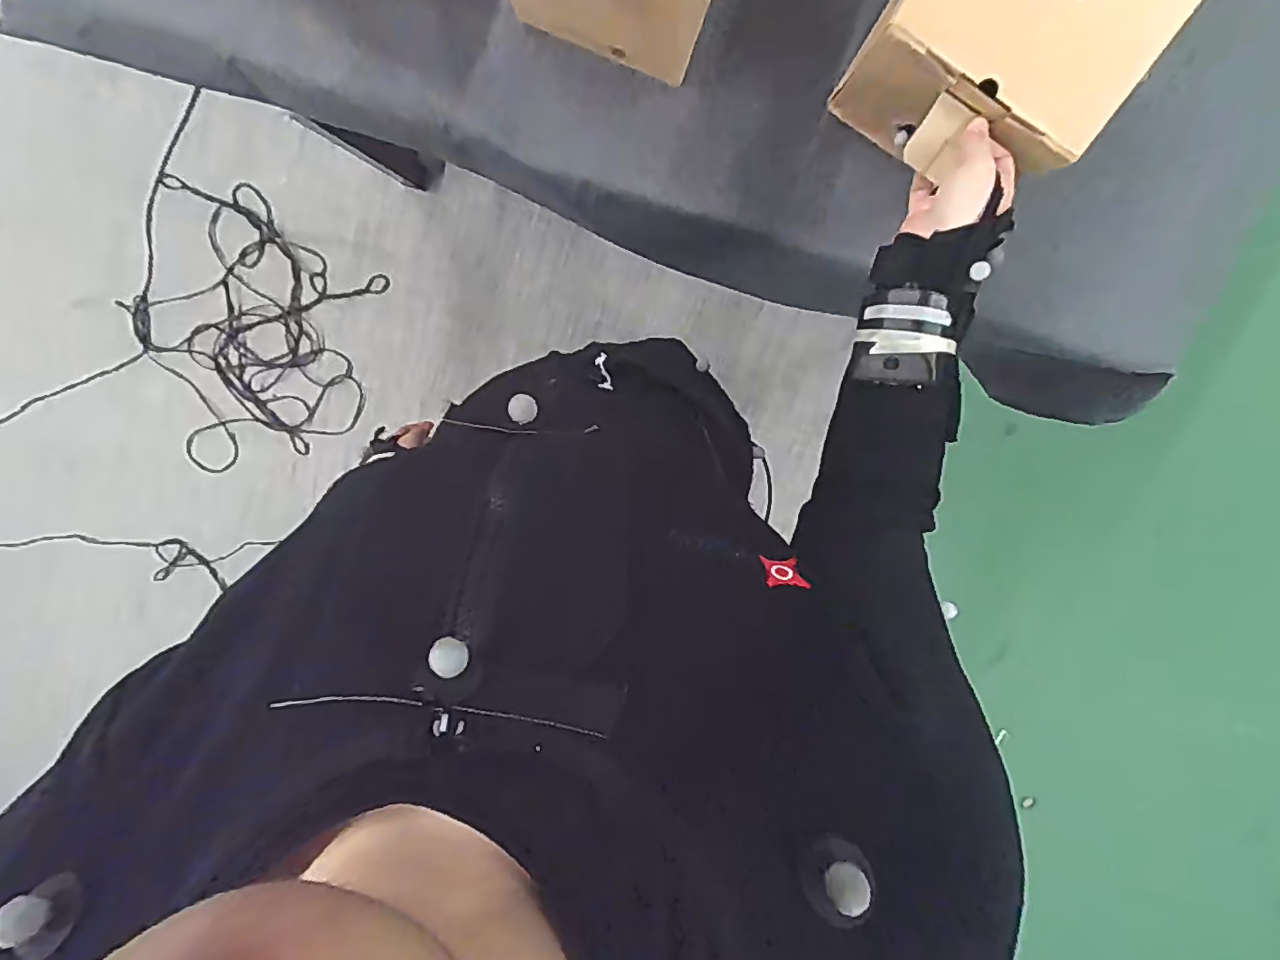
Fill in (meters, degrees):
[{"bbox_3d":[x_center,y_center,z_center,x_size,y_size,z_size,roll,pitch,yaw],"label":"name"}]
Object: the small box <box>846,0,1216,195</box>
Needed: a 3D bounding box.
[{"bbox_3d":[0.289,-0.354,0.414,0.168,0.176,0.179,30,109,-6],"label":"small box"}]
